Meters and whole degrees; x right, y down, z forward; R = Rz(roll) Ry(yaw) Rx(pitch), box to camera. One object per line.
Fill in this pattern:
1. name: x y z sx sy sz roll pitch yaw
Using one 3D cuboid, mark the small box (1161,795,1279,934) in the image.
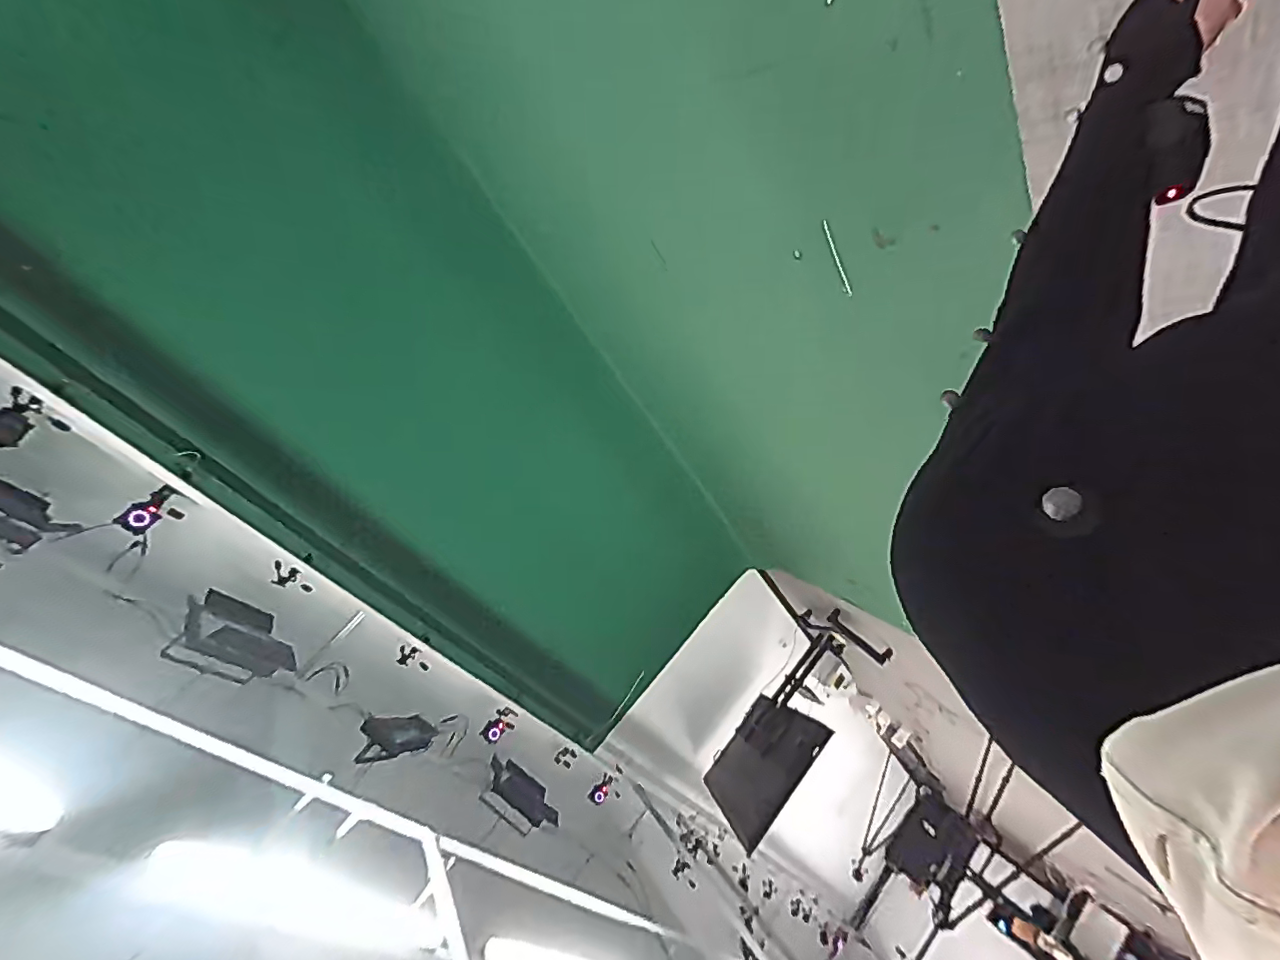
1. small box: 1.305 0.848 1.206 0.179 0.176 0.168 50 165 -32
